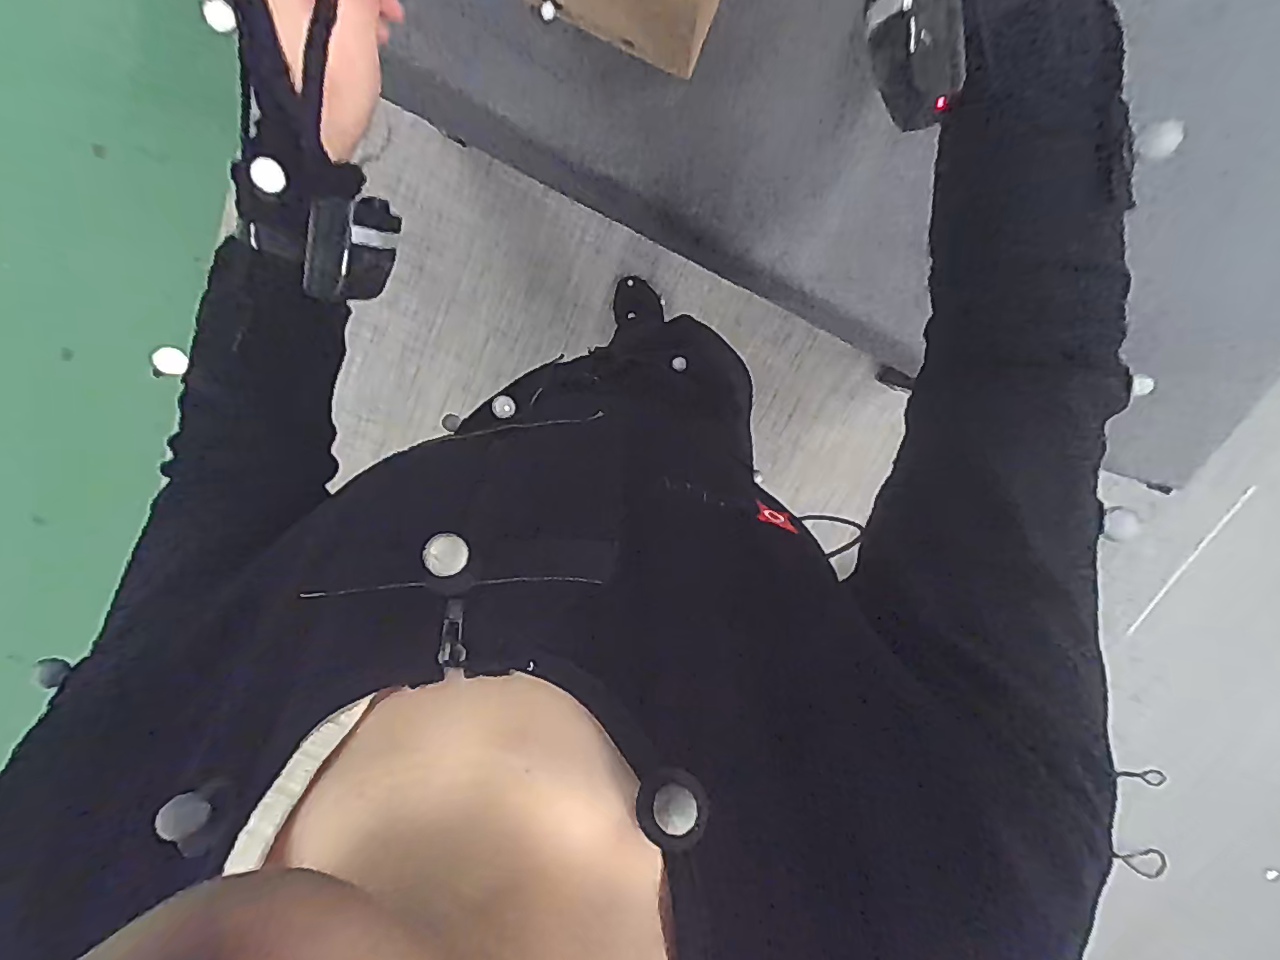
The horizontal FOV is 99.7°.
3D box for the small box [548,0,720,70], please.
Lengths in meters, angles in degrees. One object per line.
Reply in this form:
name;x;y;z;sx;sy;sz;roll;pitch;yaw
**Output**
small box;0.003;-0.454;0.396;0.168;0.176;0.179;23;106;-6
